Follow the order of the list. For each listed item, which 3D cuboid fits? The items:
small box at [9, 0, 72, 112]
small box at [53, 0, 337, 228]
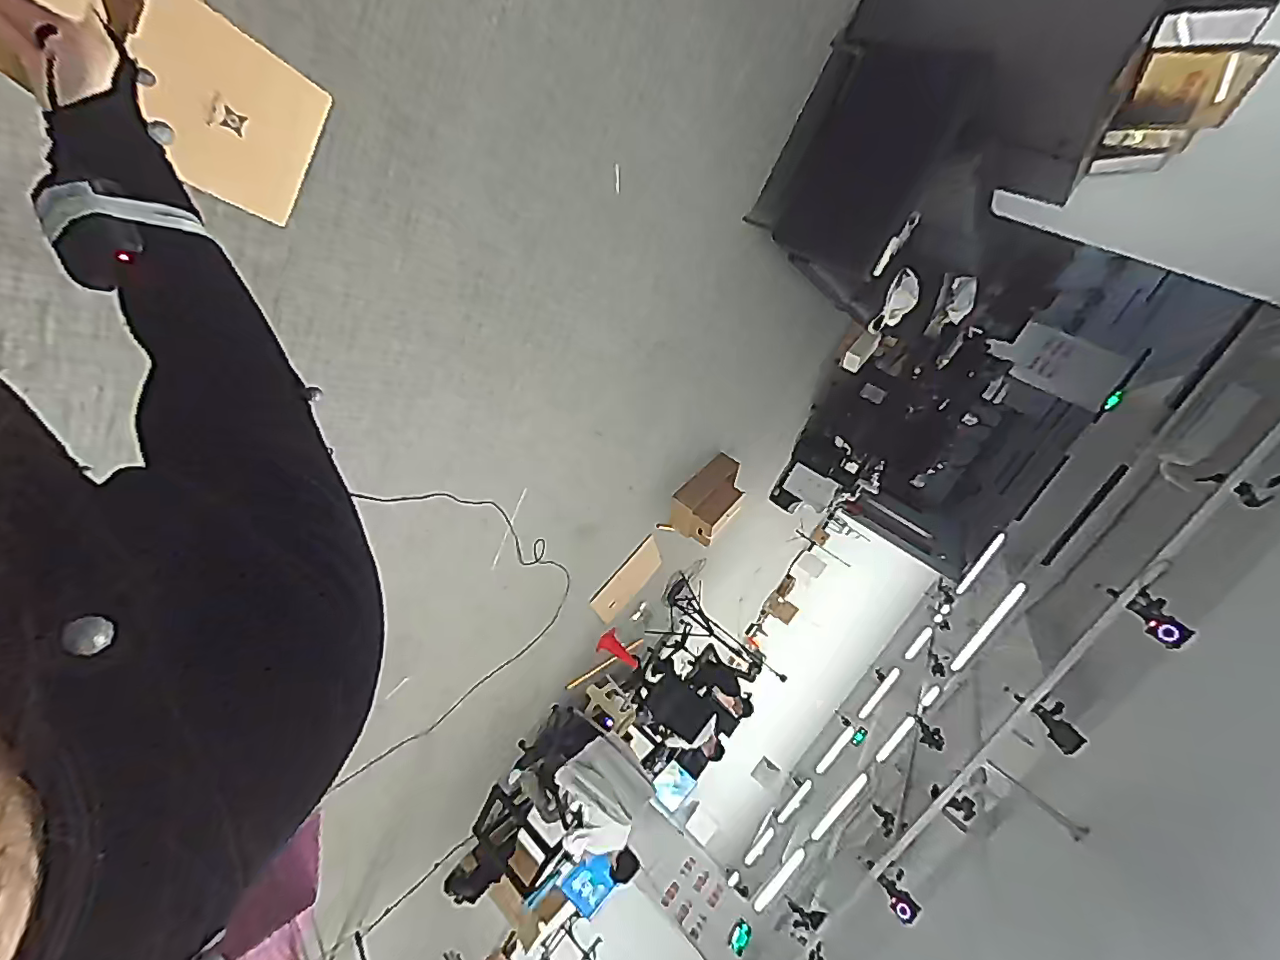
[{"bbox_3d":[-0.617,-0.513,0.661,0.179,0.176,0.168,-62,156,12],"label":"small box"},{"bbox_3d":[-0.493,-0.423,0.607,0.168,0.176,0.179,-61,156,11],"label":"small box"}]
